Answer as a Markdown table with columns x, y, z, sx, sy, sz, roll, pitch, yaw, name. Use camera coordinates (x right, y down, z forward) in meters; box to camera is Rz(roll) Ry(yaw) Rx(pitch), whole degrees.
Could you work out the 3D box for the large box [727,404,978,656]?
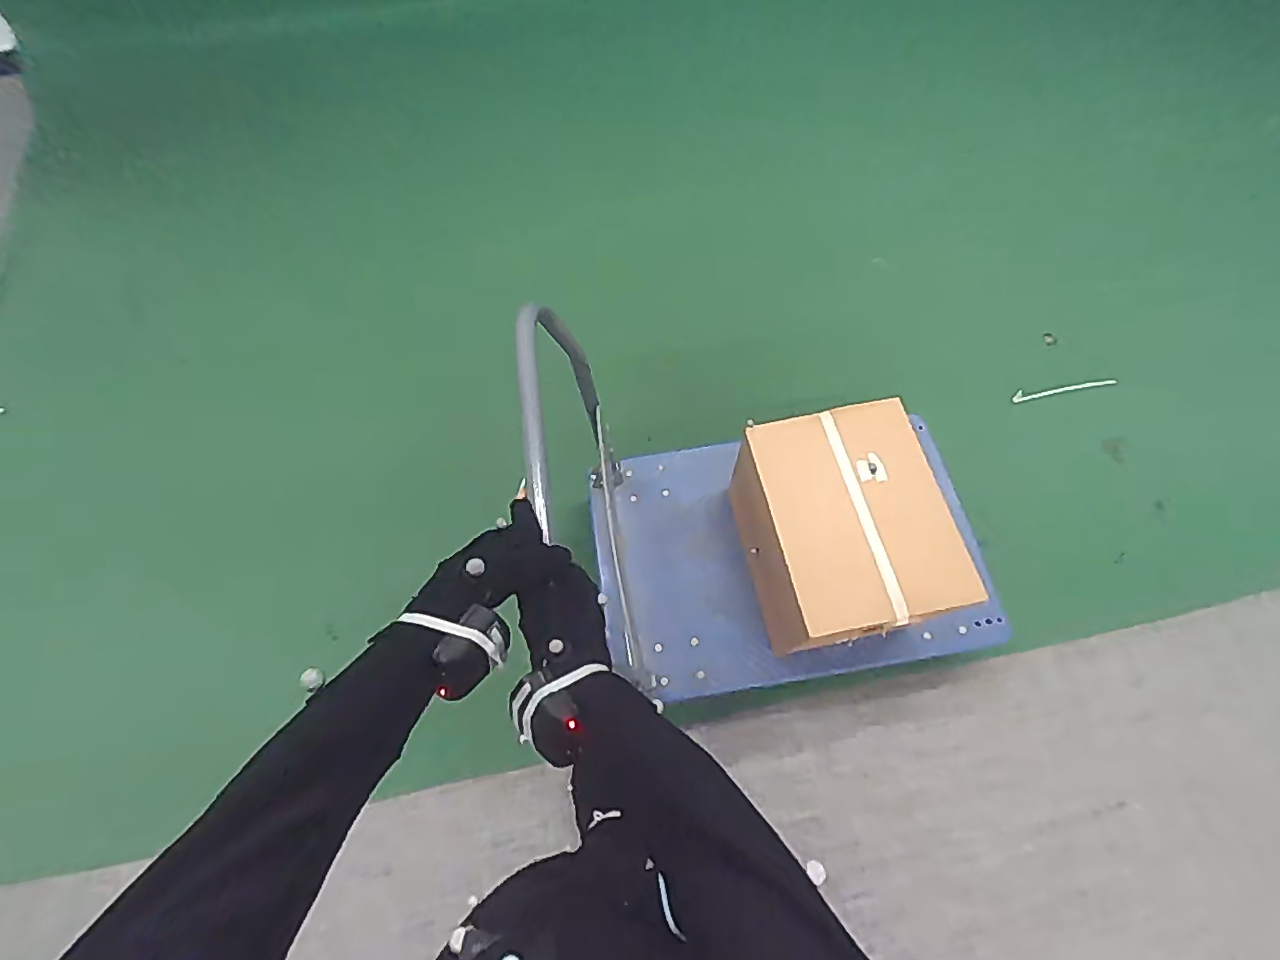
| x | y | z | sx | sy | sz | roll | pitch | yaw | name |
| --- | --- | --- | --- | --- | --- | --- | --- | --- | --- |
| 0.390 | 0.115 | 1.118 | 0.320 | 0.320 | 0.408 | -11 | 66 | -3 | large box |
